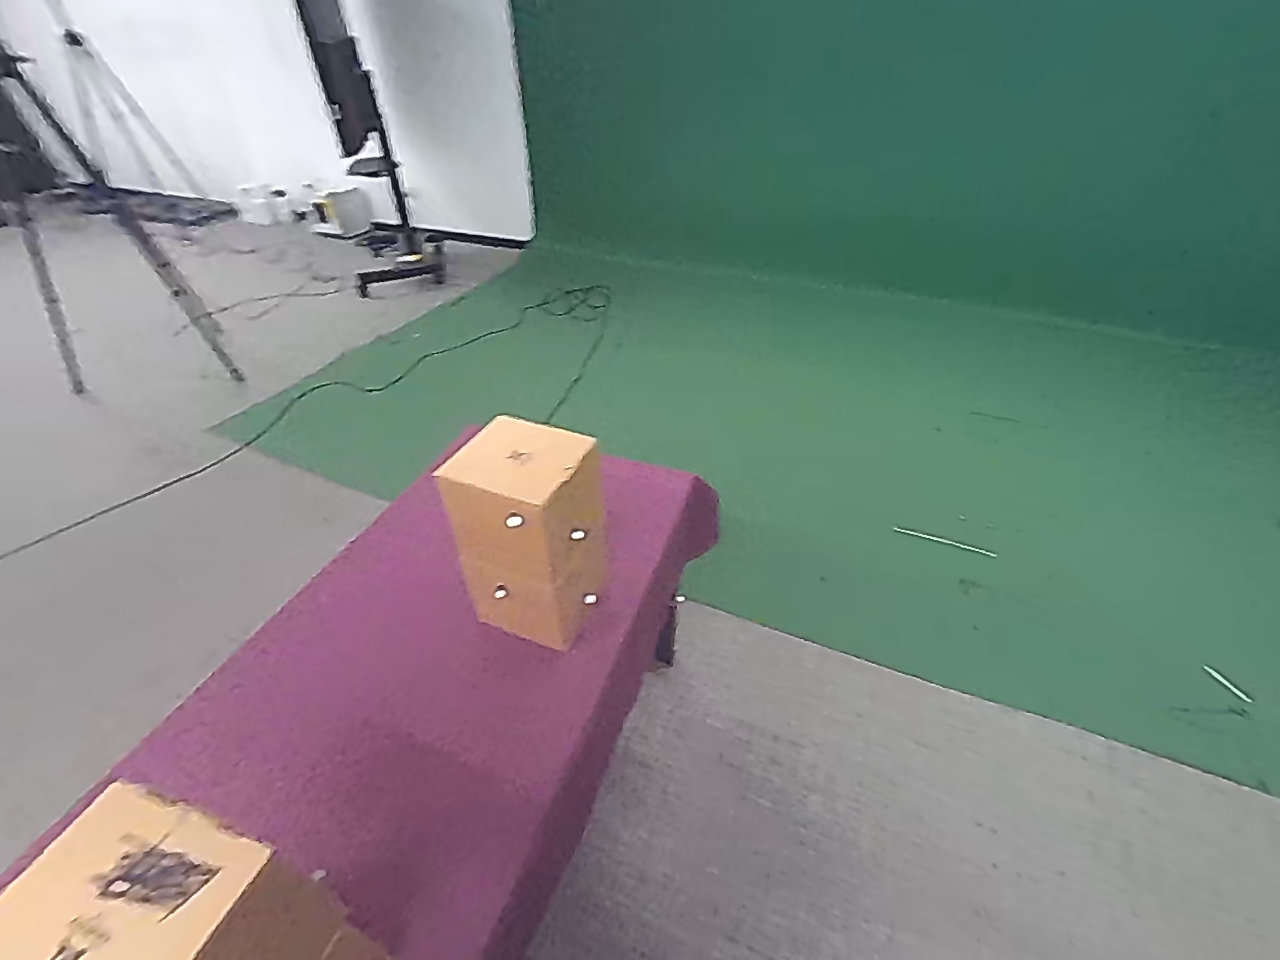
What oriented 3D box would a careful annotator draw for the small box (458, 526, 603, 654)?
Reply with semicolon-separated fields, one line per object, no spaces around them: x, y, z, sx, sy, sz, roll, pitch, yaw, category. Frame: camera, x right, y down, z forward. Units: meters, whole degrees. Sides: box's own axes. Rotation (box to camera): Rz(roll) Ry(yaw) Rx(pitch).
-0.176;0.167;0.925;0.179;0.176;0.168;15;42;17;small box

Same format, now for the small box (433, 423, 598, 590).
-0.177;0.040;0.824;0.179;0.176;0.168;15;42;17;small box

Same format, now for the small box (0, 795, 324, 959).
-0.376;0.384;0.406;0.168;0.176;0.179;11;41;14;small box
